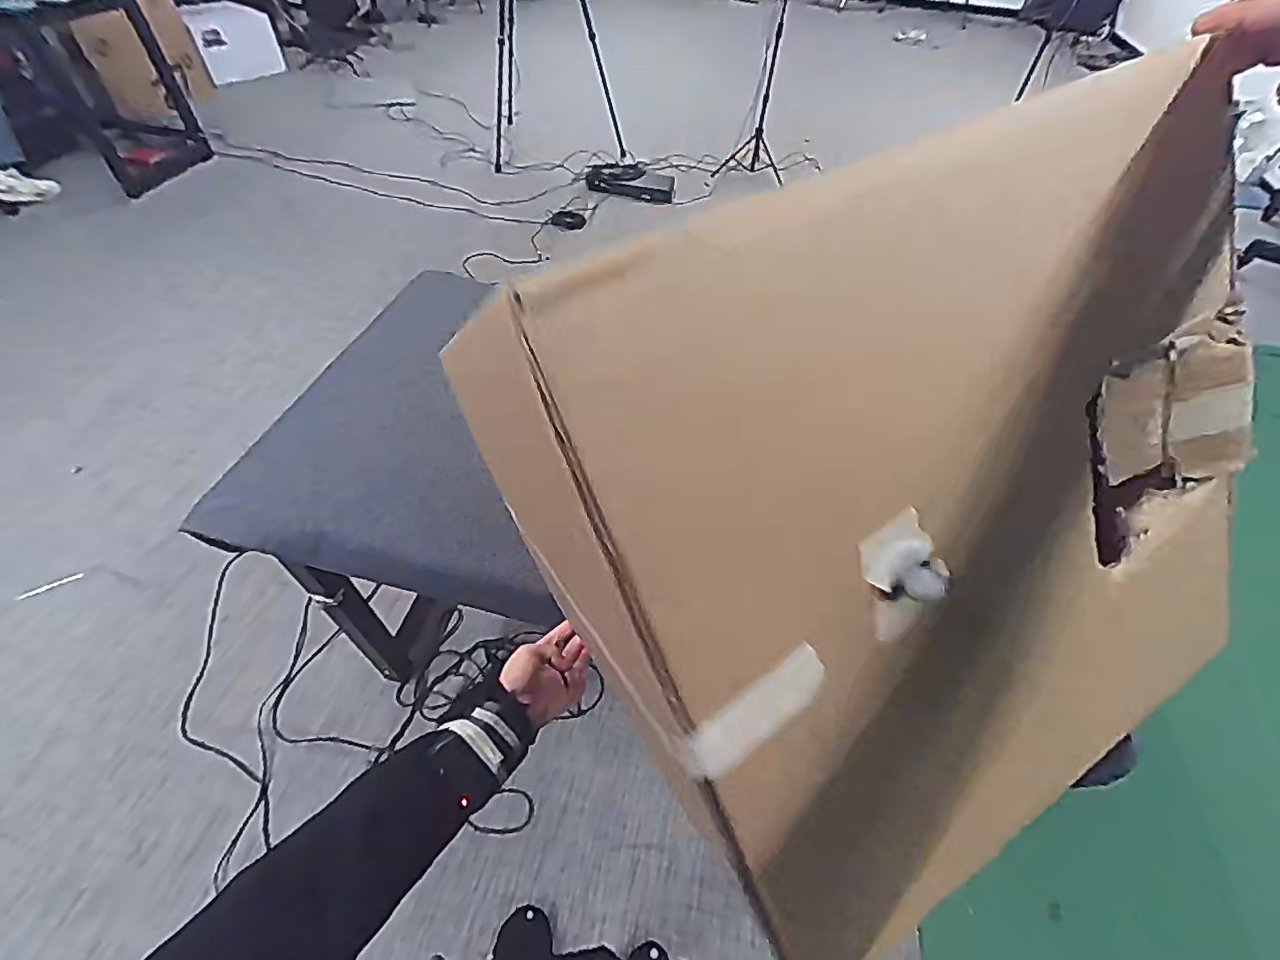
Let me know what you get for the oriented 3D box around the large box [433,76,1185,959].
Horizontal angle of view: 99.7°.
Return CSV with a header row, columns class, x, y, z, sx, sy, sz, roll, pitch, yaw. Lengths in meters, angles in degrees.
class,x,y,z,sx,sy,sz,roll,pitch,yaw
large box,0.074,-0.009,0.408,0.320,0.320,0.408,-29,21,-18
